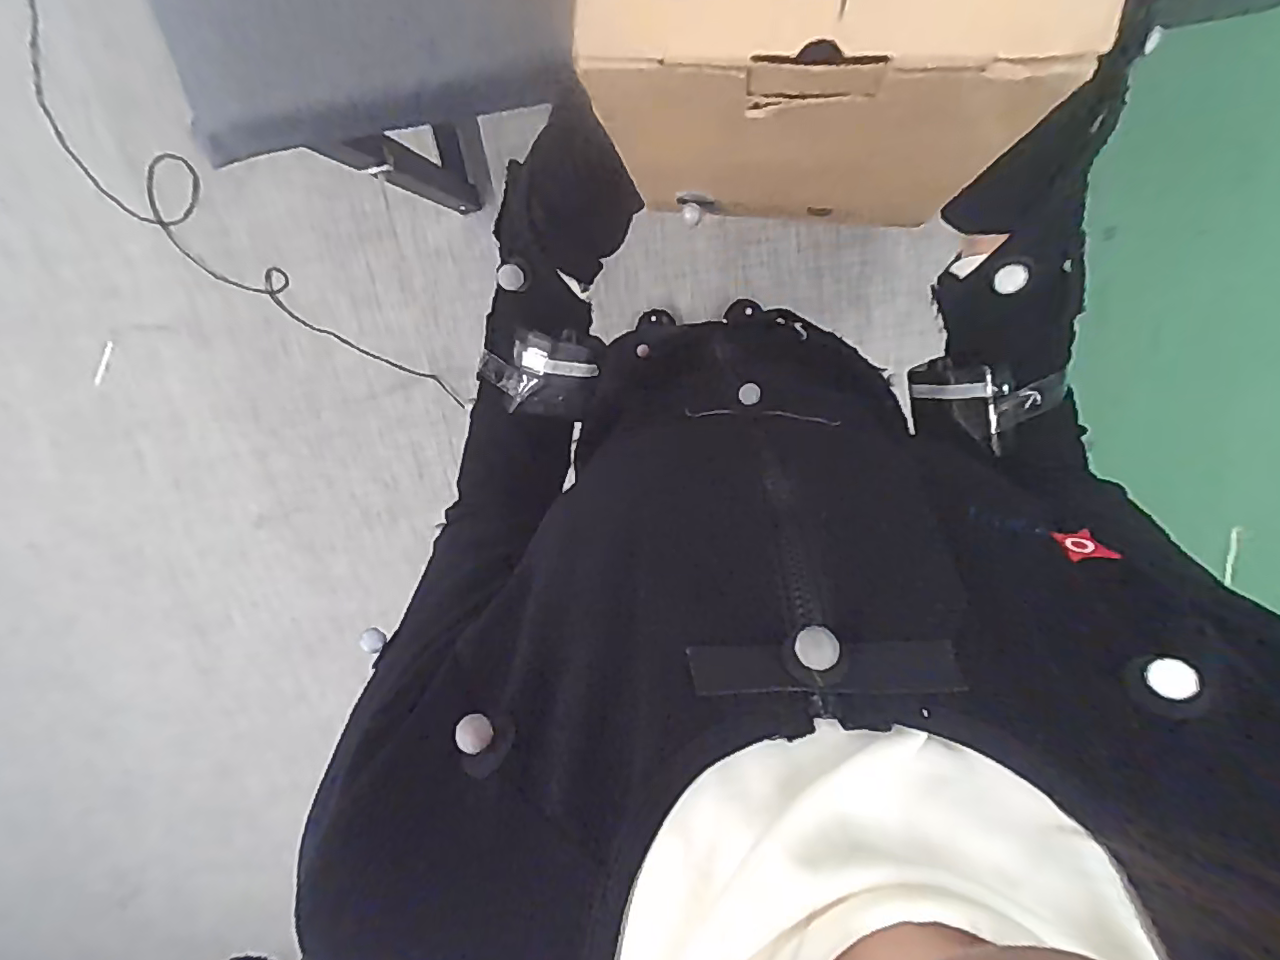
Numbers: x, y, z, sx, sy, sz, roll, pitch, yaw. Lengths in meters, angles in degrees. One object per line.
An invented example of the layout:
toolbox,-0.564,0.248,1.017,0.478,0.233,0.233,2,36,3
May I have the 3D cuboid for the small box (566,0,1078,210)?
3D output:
small box,0.076,-0.238,0.240,0.168,0.176,0.179,8,101,8
